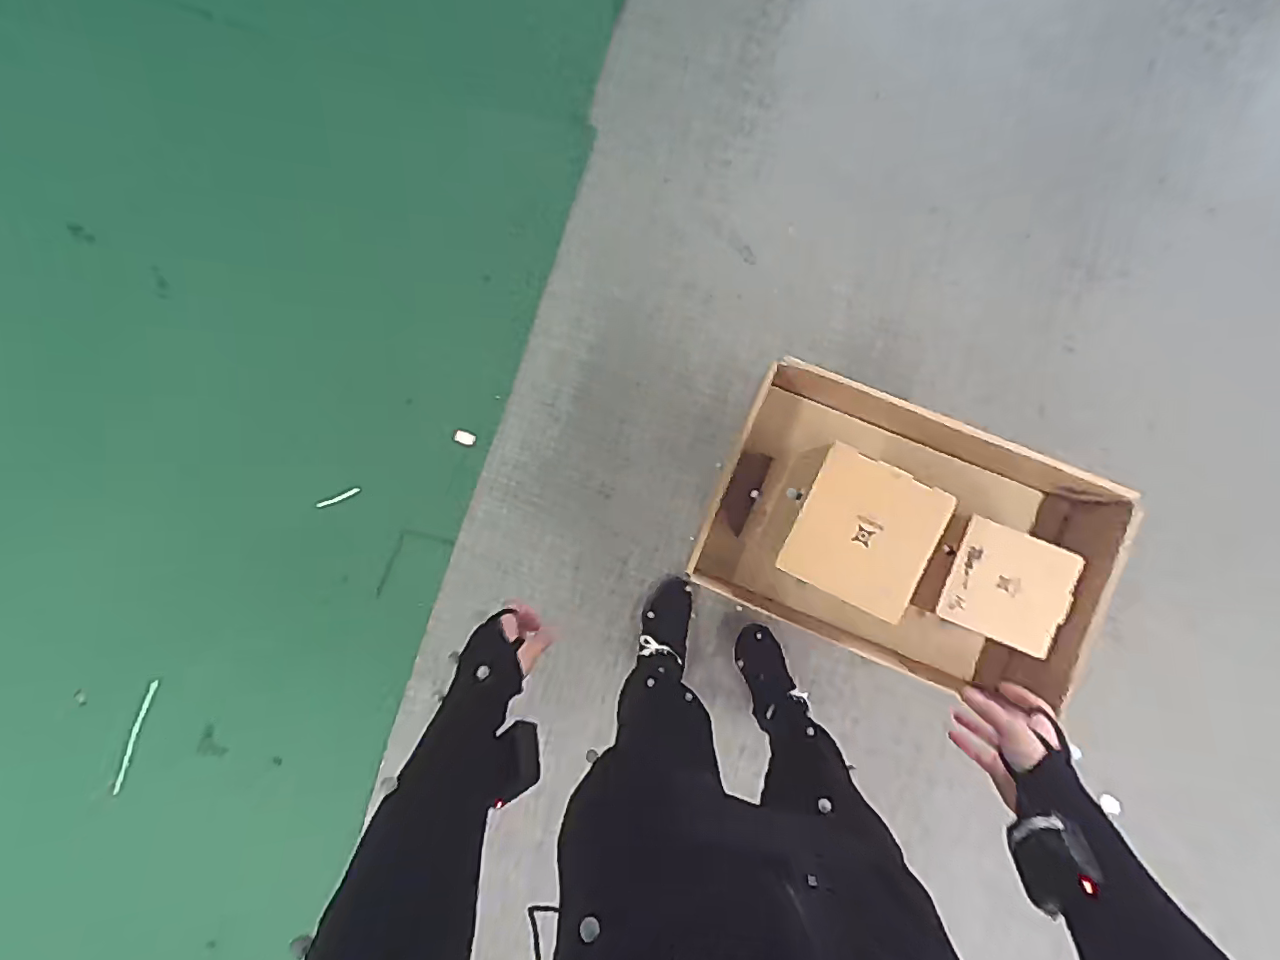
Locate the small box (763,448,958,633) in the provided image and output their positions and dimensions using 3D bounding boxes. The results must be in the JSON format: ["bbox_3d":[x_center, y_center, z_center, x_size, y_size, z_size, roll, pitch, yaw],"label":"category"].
[{"bbox_3d":[0.281,0.077,0.737,0.168,0.176,0.179,26,88,4],"label":"small box"}]
